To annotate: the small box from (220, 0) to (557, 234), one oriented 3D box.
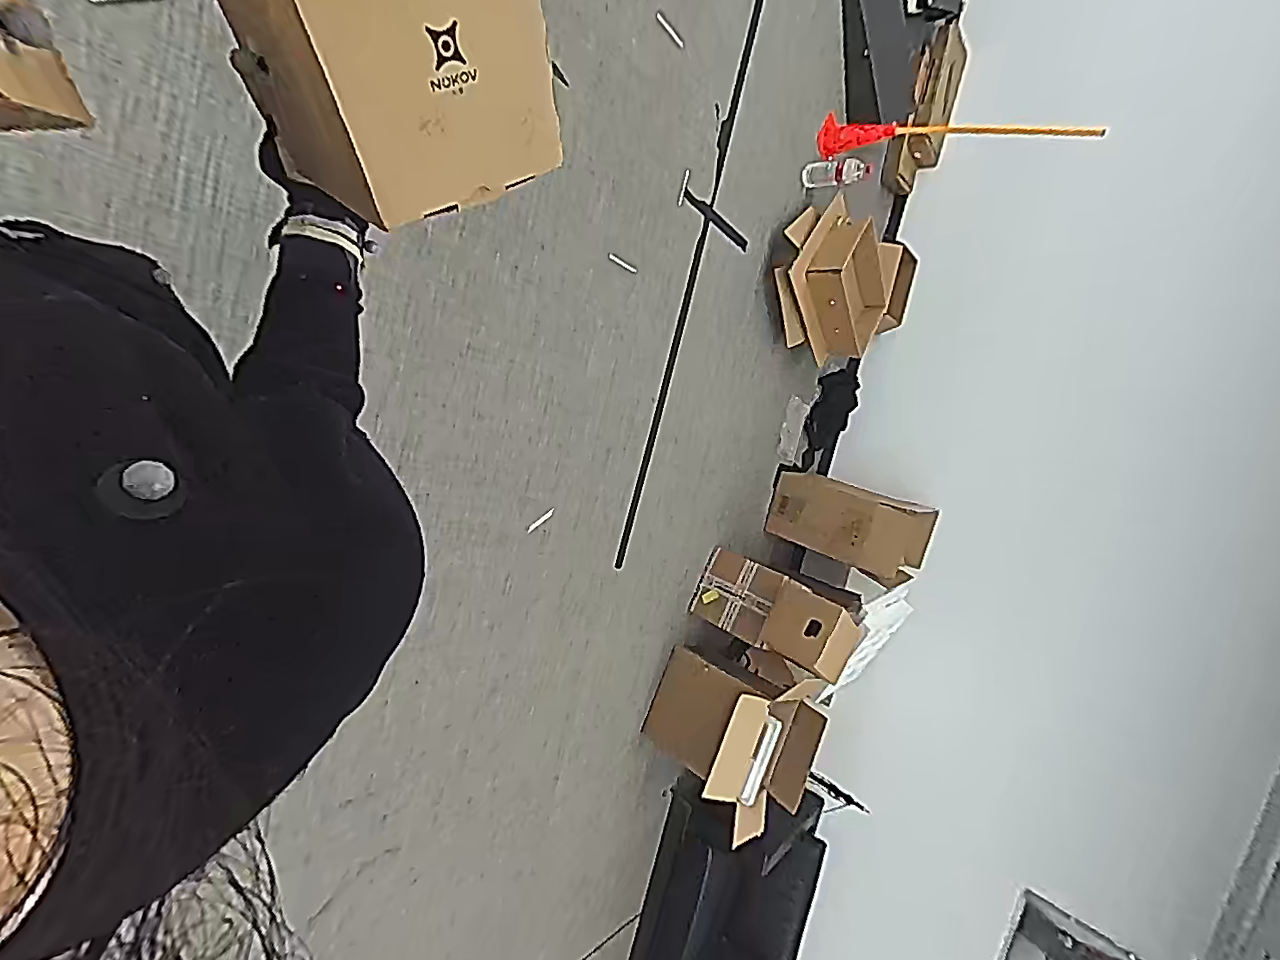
[{"bbox_3d":[-0.186,-0.322,0.406,0.168,0.176,0.179,-37,148,-26],"label":"small box"}]
